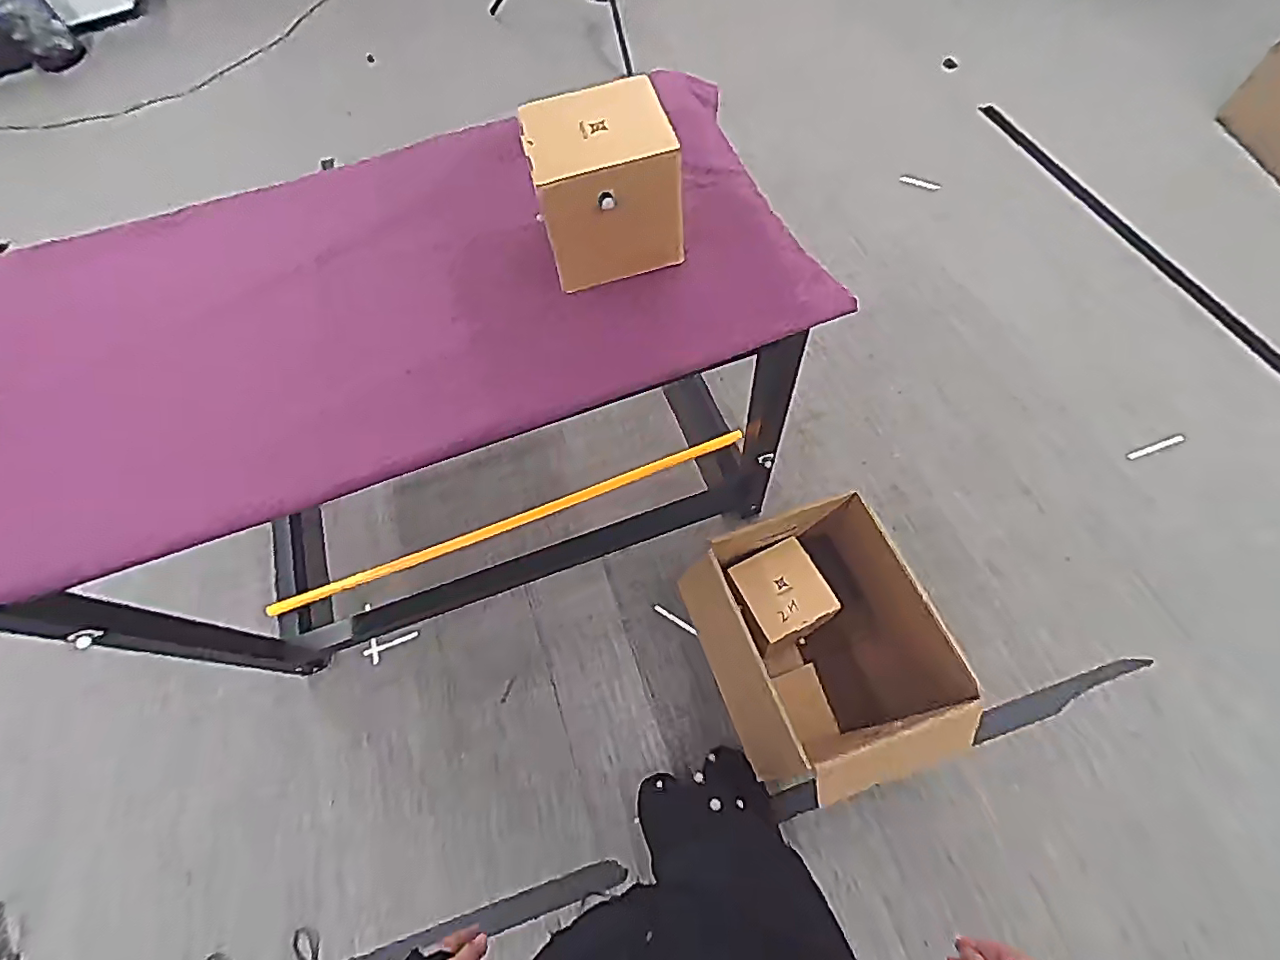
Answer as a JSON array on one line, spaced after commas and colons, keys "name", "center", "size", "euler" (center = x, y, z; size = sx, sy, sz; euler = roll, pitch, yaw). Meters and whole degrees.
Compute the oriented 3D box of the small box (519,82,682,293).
[{"name": "small box", "center": [-0.047, -0.386, 0.731], "size": [0.179, 0.176, 0.168], "euler": [-16, 63, -1]}]
